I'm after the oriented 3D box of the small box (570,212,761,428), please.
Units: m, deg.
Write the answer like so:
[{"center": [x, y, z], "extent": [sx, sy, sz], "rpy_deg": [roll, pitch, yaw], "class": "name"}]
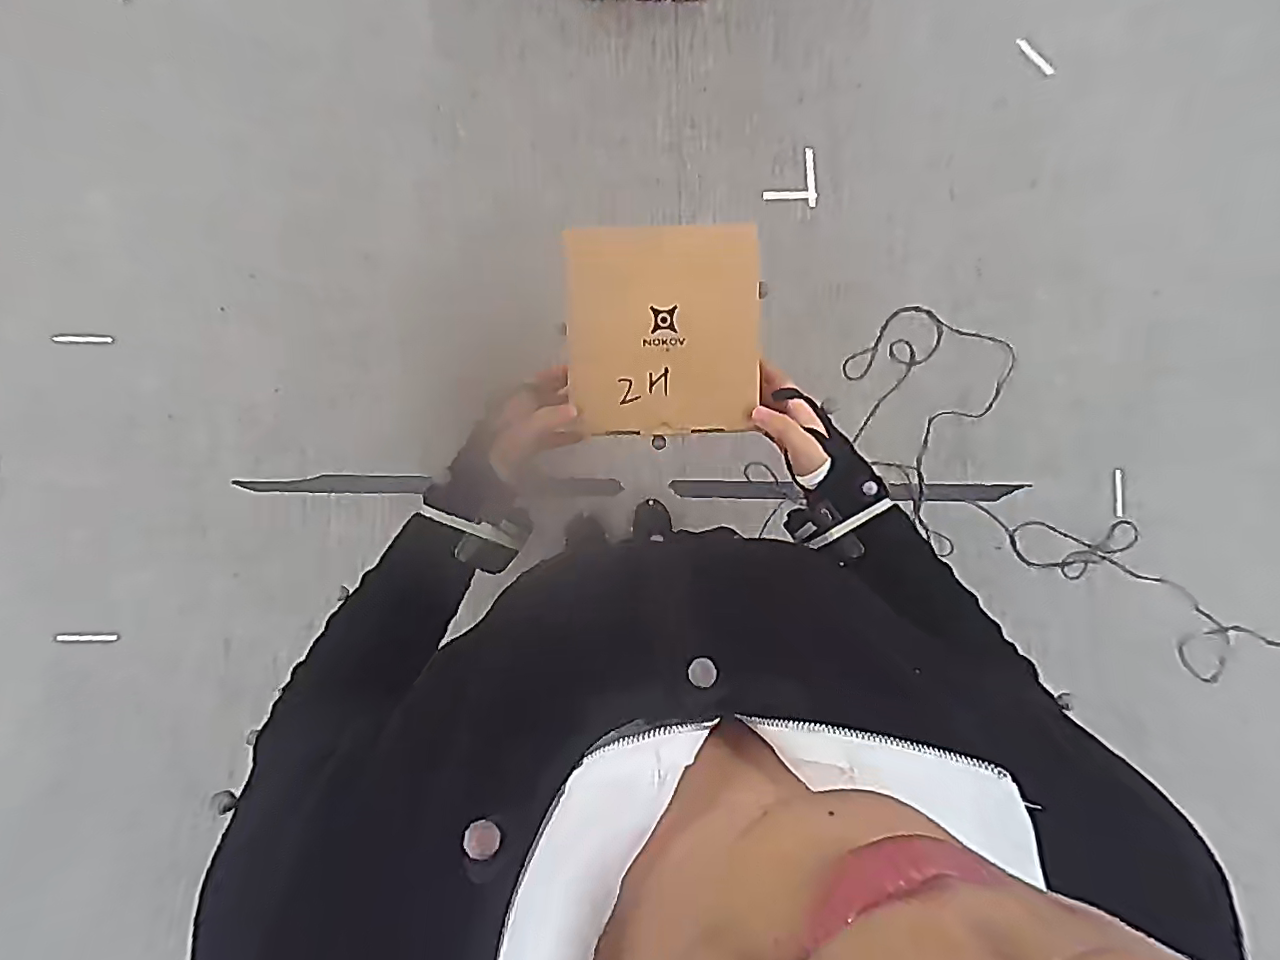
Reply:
[{"center": [0.020, -0.143, 0.540], "extent": [0.168, 0.176, 0.179], "rpy_deg": [-1, 94, 0], "class": "small box"}]
